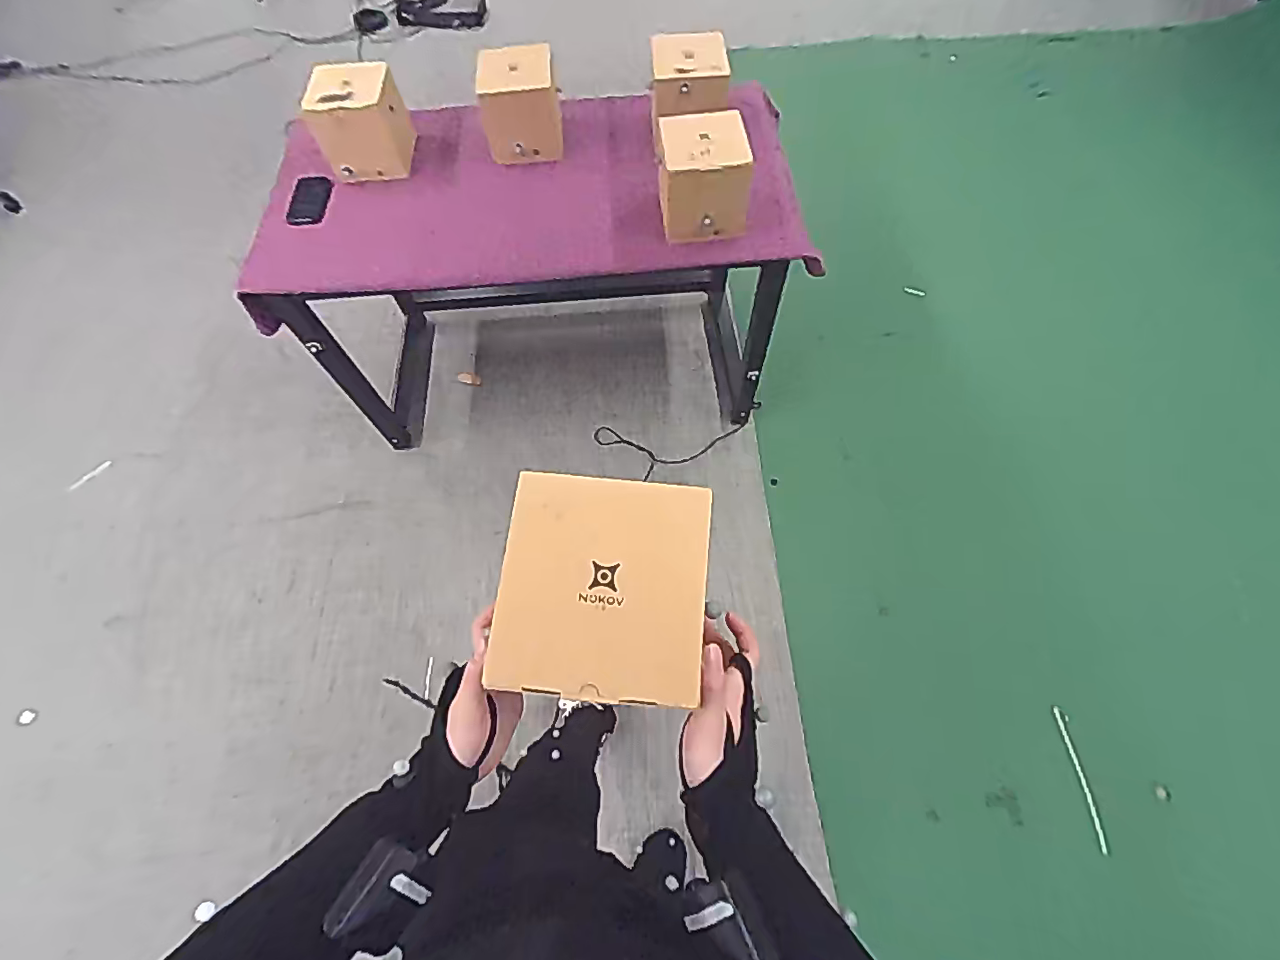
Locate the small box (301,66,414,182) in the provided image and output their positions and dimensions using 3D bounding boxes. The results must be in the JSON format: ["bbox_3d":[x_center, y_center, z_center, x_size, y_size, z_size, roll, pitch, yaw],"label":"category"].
[{"bbox_3d":[-0.643,-0.815,1.253,0.168,0.176,0.179,-4,63,-1],"label":"small box"}]

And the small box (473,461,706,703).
[{"bbox_3d":[-0.036,0.098,0.500,0.168,0.176,0.179,5,72,2],"label":"small box"}]

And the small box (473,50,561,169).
[{"bbox_3d":[-0.281,-0.867,1.270,0.168,0.176,0.179,-5,64,0],"label":"small box"}]

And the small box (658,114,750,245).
[{"bbox_3d":[0.125,-0.621,1.125,0.168,0.176,0.179,-6,63,1],"label":"small box"}]

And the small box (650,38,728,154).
[{"bbox_3d":[0.107,-0.894,1.270,0.168,0.176,0.179,-3,63,1],"label":"small box"}]
